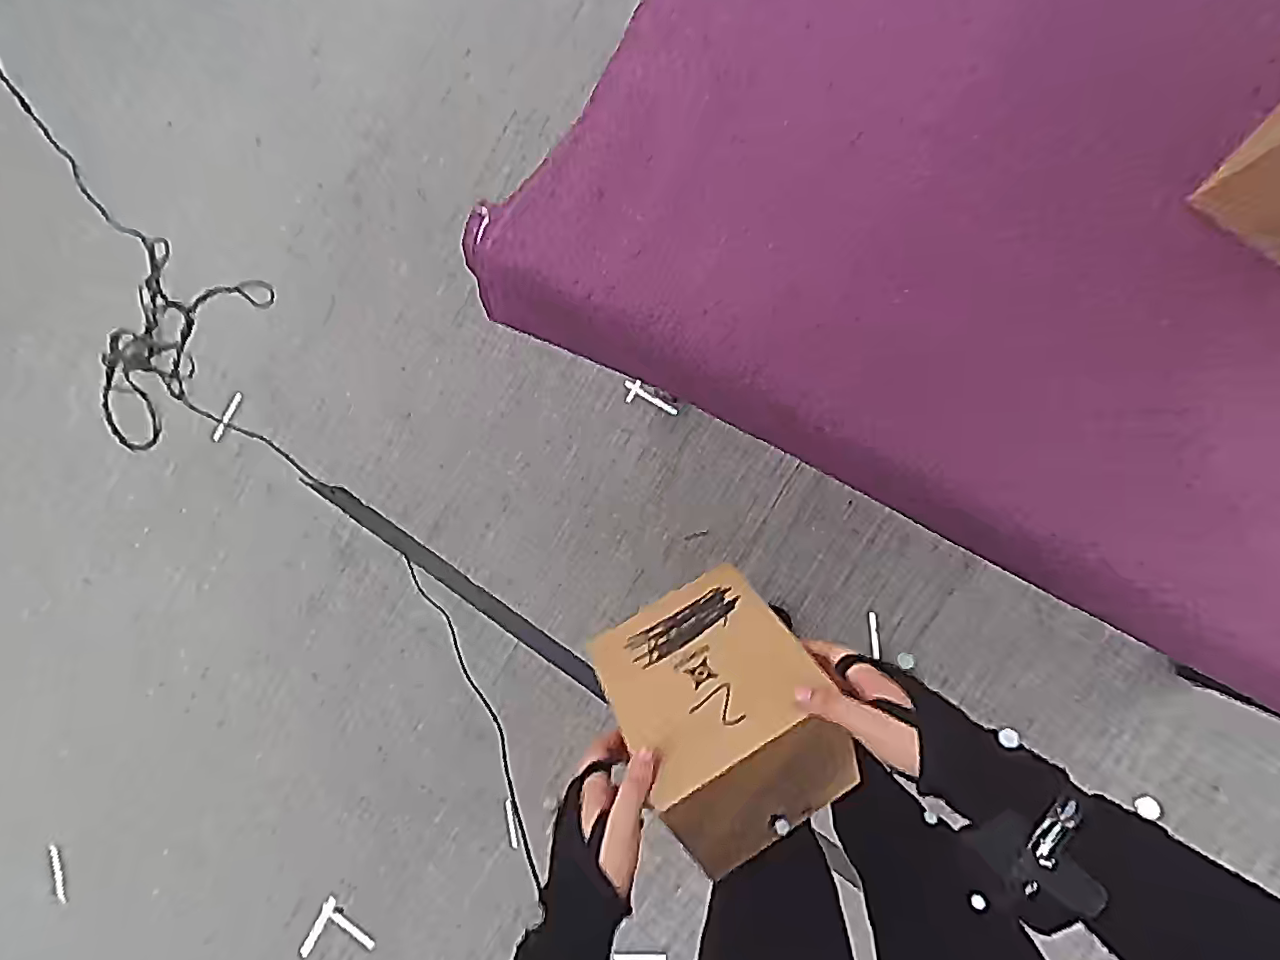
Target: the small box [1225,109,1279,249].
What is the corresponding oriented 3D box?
[{"bbox_3d":[0.499,-0.208,0.291,0.168,0.176,0.179,43,96,7],"label":"small box"}]
